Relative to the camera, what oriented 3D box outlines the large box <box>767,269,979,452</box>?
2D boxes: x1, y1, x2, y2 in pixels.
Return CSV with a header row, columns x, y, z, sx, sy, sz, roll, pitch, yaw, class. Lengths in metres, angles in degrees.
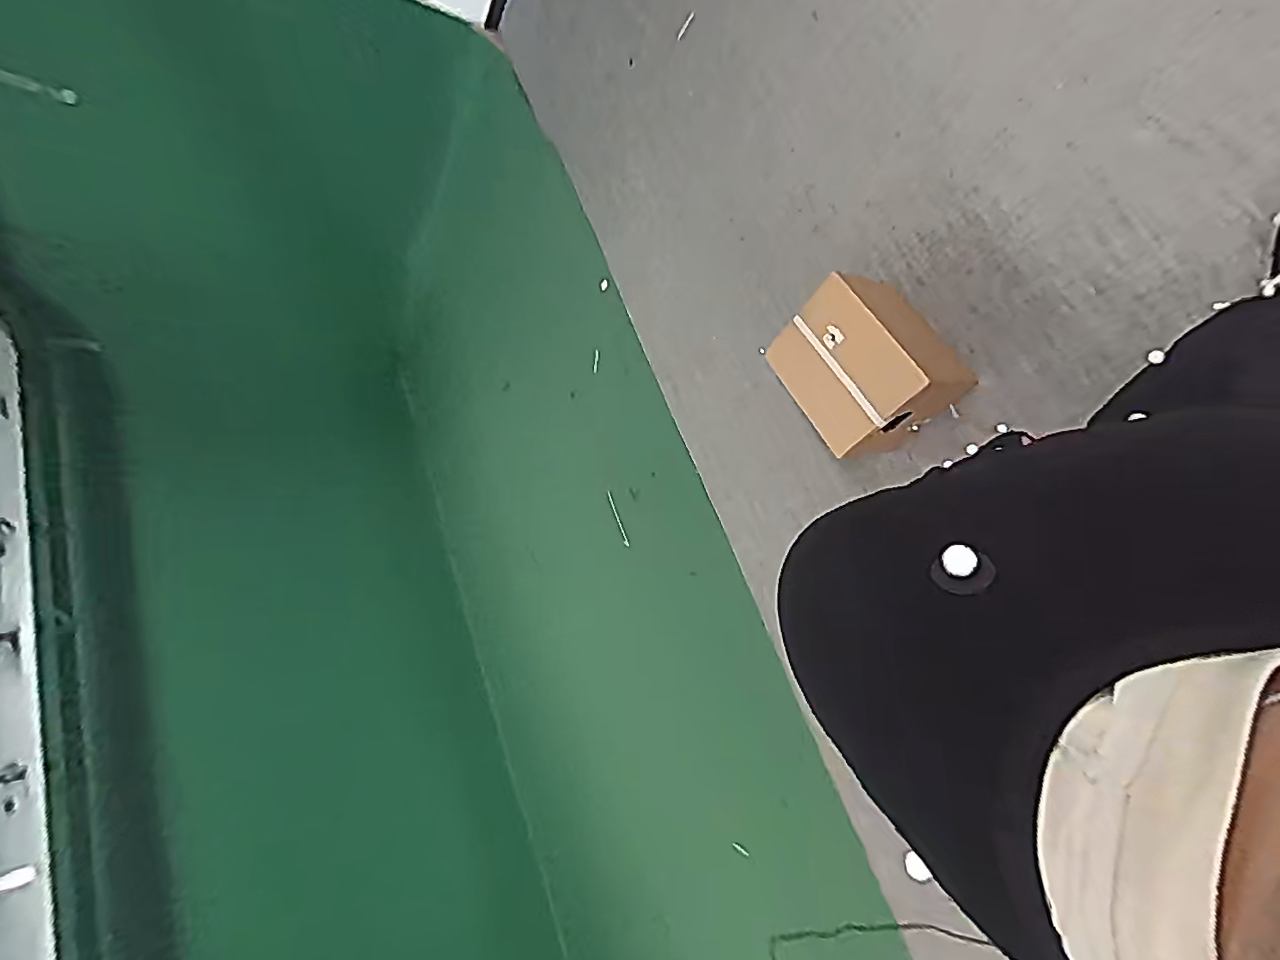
x,y,z,sx,sy,sz,roll,pitch,yaw,class
0.655,-0.335,1.550,0.320,0.320,0.408,-50,58,43,large box
